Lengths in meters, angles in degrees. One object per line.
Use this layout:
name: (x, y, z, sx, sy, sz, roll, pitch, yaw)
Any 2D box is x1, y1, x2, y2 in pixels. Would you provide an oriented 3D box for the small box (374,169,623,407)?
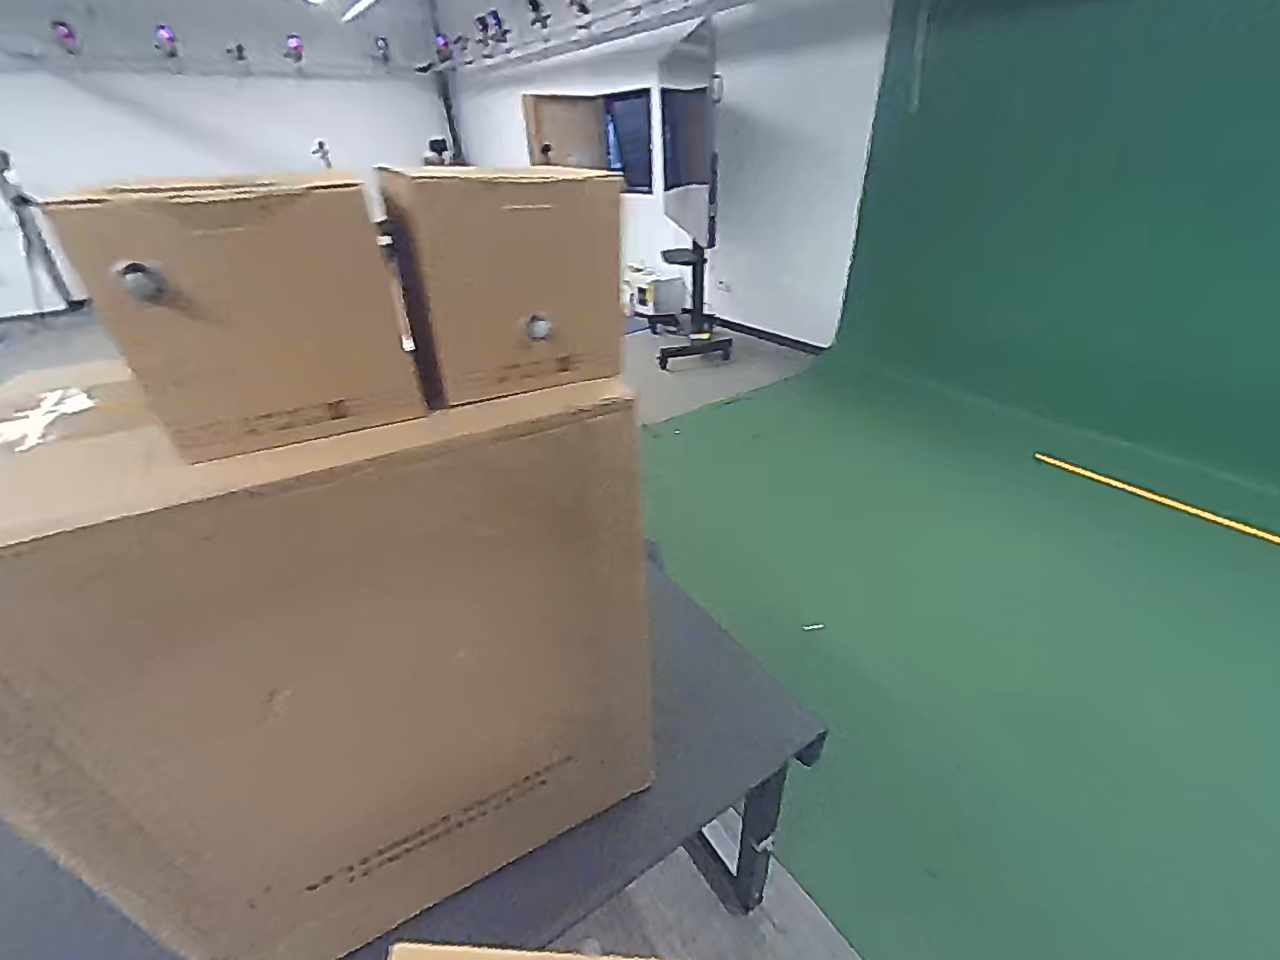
small box: (-0.127, -0.183, 0.494, 0.168, 0.176, 0.179, -17, 37, -25)
